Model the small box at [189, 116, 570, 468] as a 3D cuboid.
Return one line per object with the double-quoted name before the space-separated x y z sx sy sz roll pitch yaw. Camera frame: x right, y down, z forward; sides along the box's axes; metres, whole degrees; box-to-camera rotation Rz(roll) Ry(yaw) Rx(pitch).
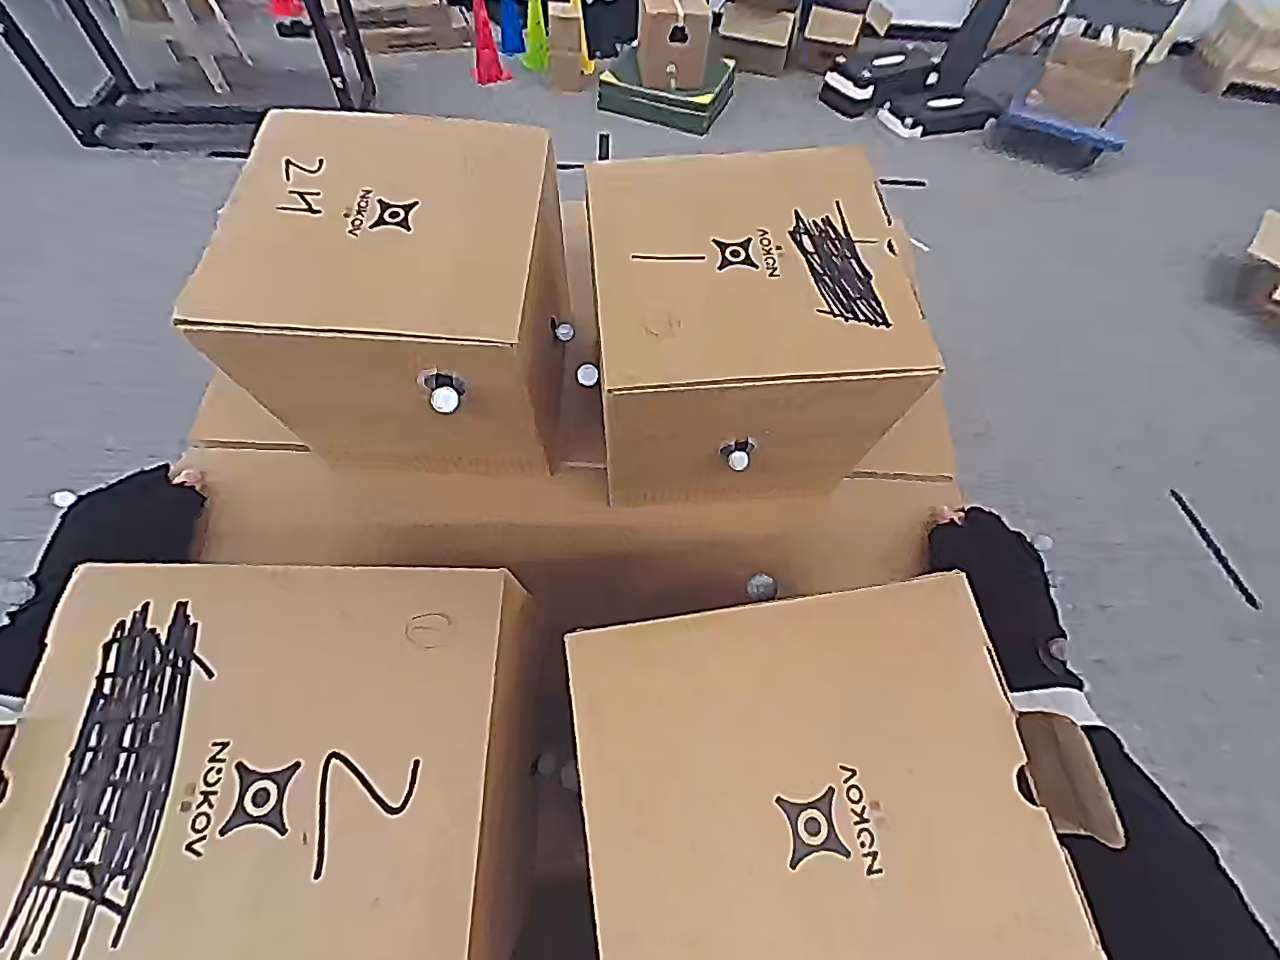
"small box" -0.148 -0.118 0.388 0.179 0.176 0.168 4 66 0
